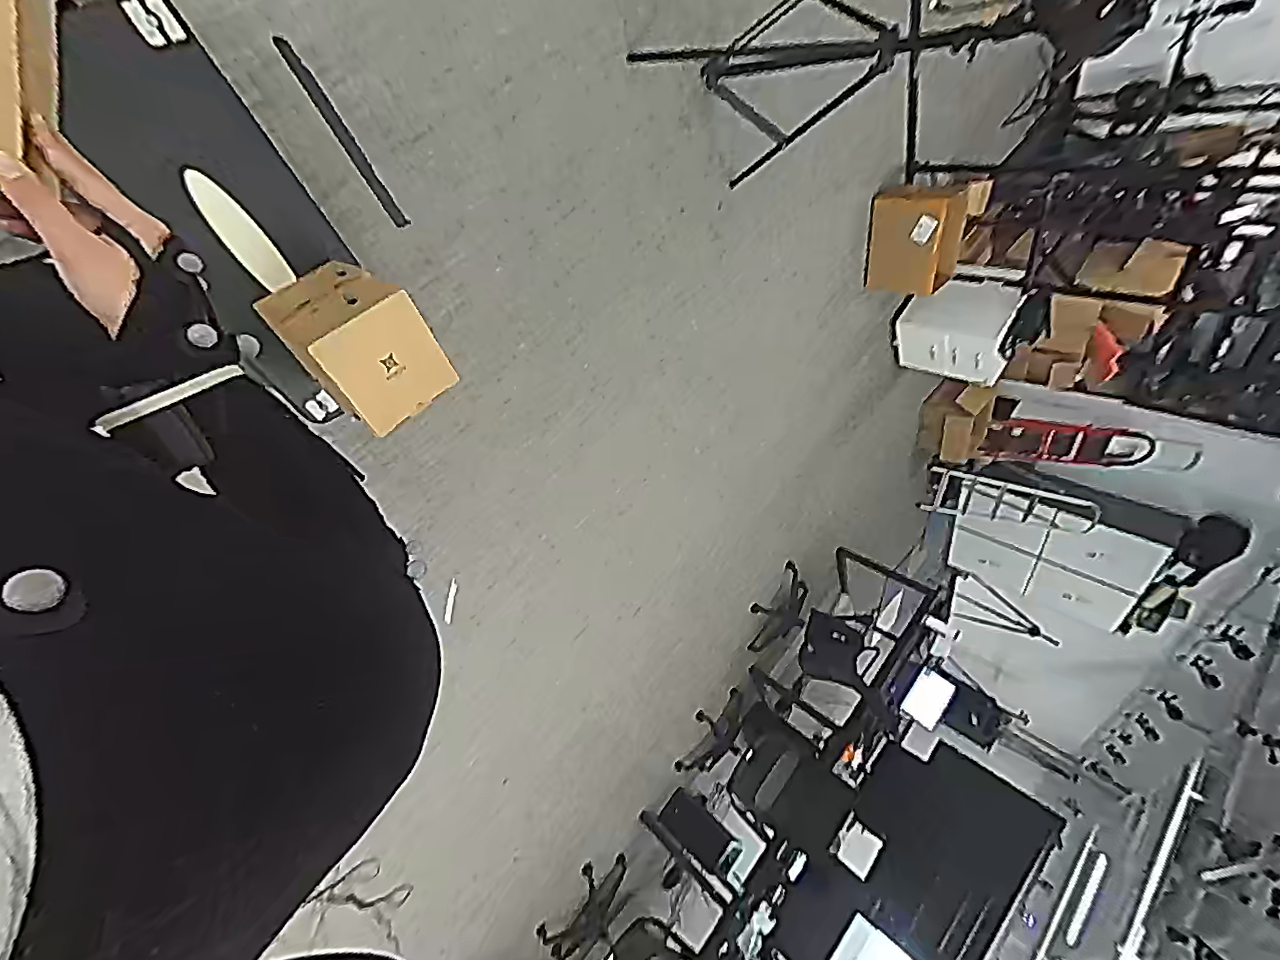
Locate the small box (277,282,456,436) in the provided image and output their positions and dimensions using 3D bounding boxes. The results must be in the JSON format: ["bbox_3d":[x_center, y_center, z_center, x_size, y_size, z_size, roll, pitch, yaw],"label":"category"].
[{"bbox_3d":[-0.446,-0.206,0.882,0.168,0.176,0.179,-44,138,-22],"label":"small box"}]

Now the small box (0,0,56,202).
[{"bbox_3d":[-0.447,-0.272,0.291,0.168,0.176,0.179,1,106,-43],"label":"small box"}]

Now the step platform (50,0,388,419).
[{"bbox_3d":[-0.711,-0.438,0.992,0.286,0.204,0.684,-46,138,-20],"label":"step platform"}]
